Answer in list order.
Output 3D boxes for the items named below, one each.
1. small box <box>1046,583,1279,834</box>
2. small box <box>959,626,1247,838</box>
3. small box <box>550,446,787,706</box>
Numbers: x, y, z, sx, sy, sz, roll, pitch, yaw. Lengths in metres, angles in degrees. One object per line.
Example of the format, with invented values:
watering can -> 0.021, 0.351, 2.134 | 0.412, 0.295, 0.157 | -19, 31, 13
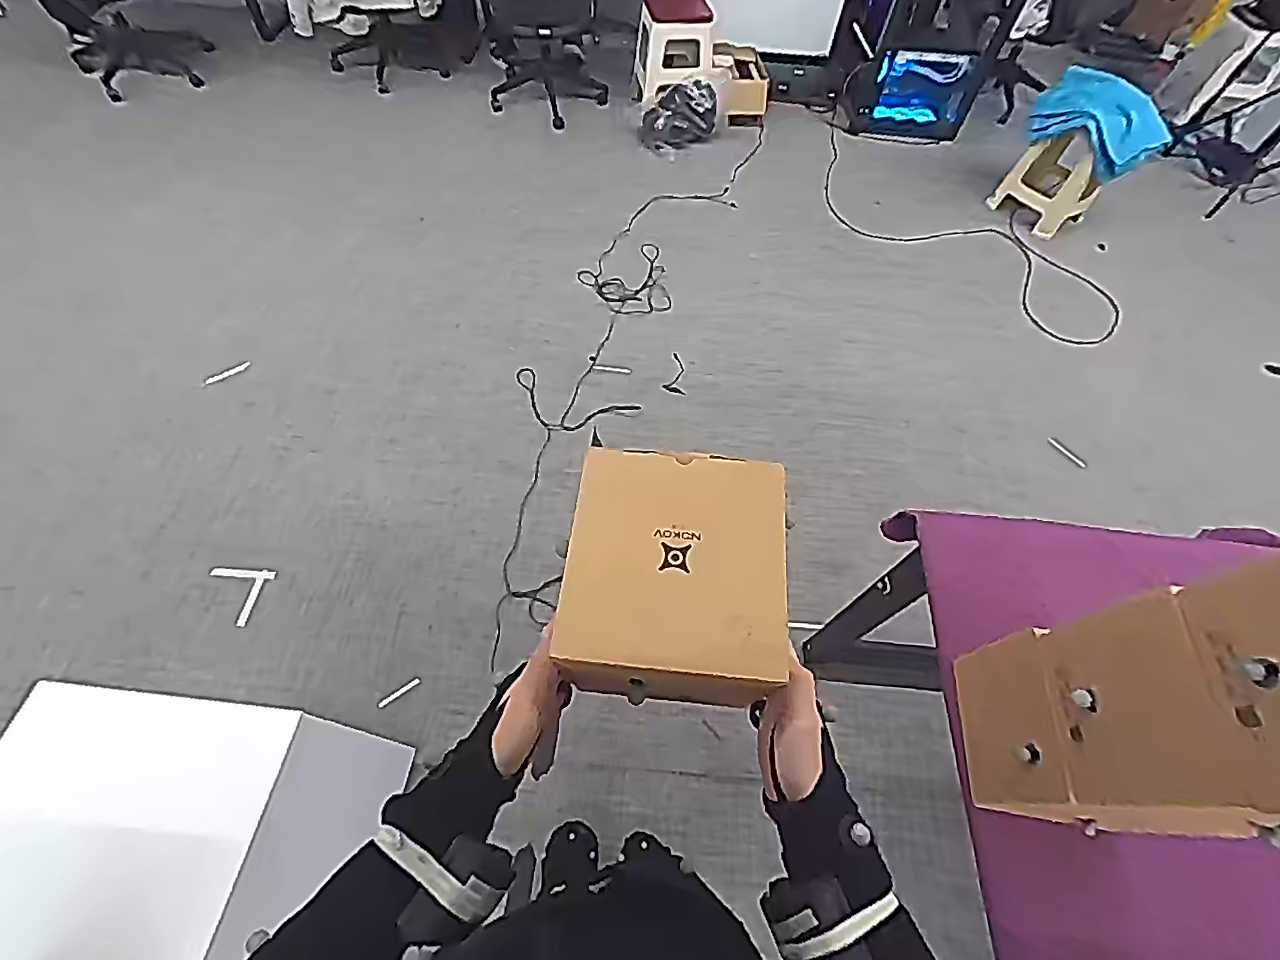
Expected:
small box -> 0.516, 0.208, 0.477 | 0.179, 0.176, 0.168 | 8, 59, 3
small box -> 0.499, 0.289, 0.619 | 0.168, 0.176, 0.179 | 10, 59, 2
small box -> 0.029, 0.091, 0.473 | 0.168, 0.176, 0.179 | 4, 60, 4
